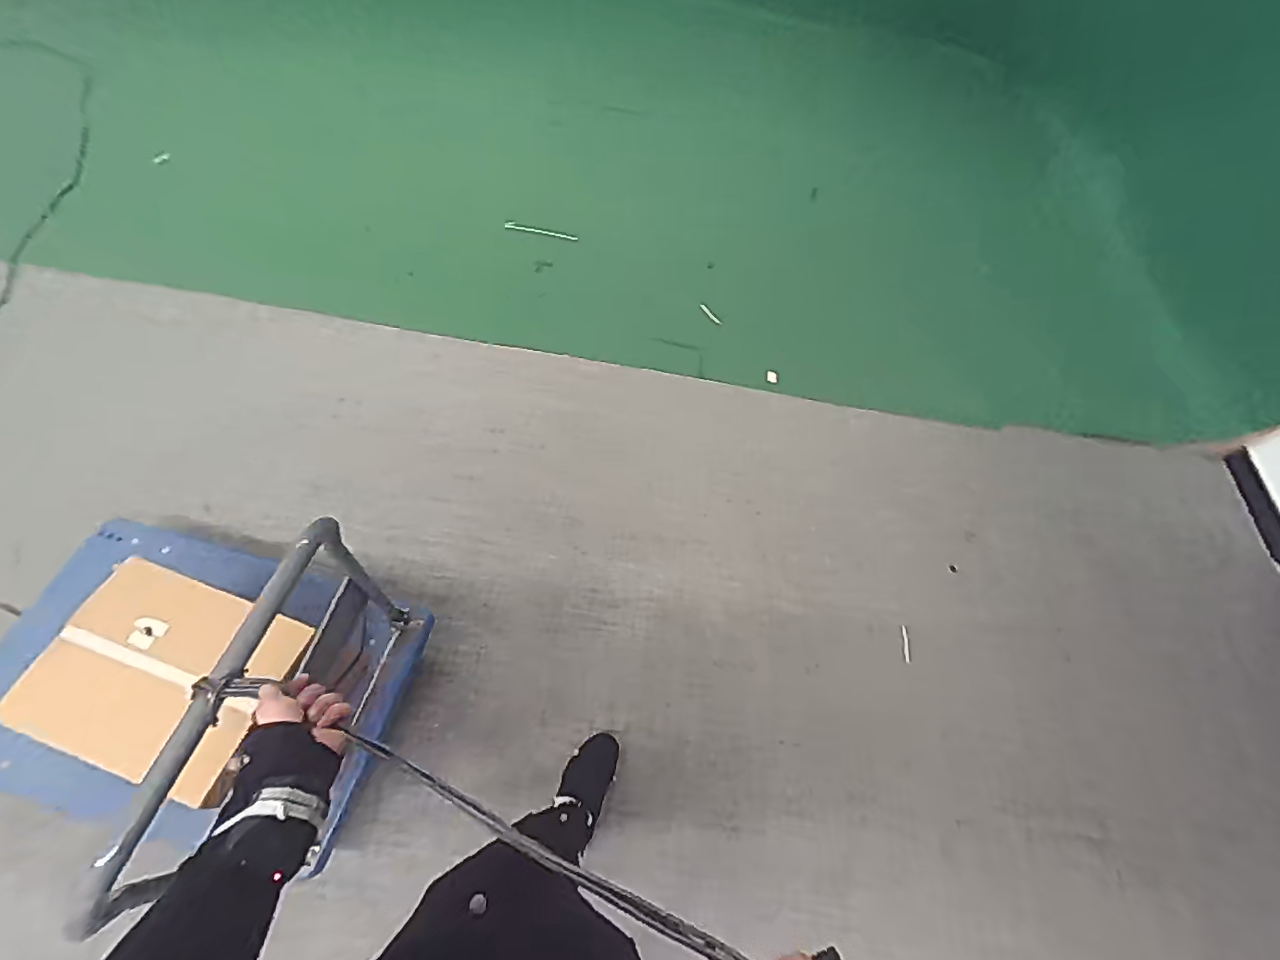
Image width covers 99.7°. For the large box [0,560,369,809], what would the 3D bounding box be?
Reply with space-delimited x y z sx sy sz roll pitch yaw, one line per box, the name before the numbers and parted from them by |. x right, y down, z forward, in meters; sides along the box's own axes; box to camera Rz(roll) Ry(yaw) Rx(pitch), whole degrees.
large box | -0.847 0.410 1.080 0.408 0.320 0.320 20 60 5
